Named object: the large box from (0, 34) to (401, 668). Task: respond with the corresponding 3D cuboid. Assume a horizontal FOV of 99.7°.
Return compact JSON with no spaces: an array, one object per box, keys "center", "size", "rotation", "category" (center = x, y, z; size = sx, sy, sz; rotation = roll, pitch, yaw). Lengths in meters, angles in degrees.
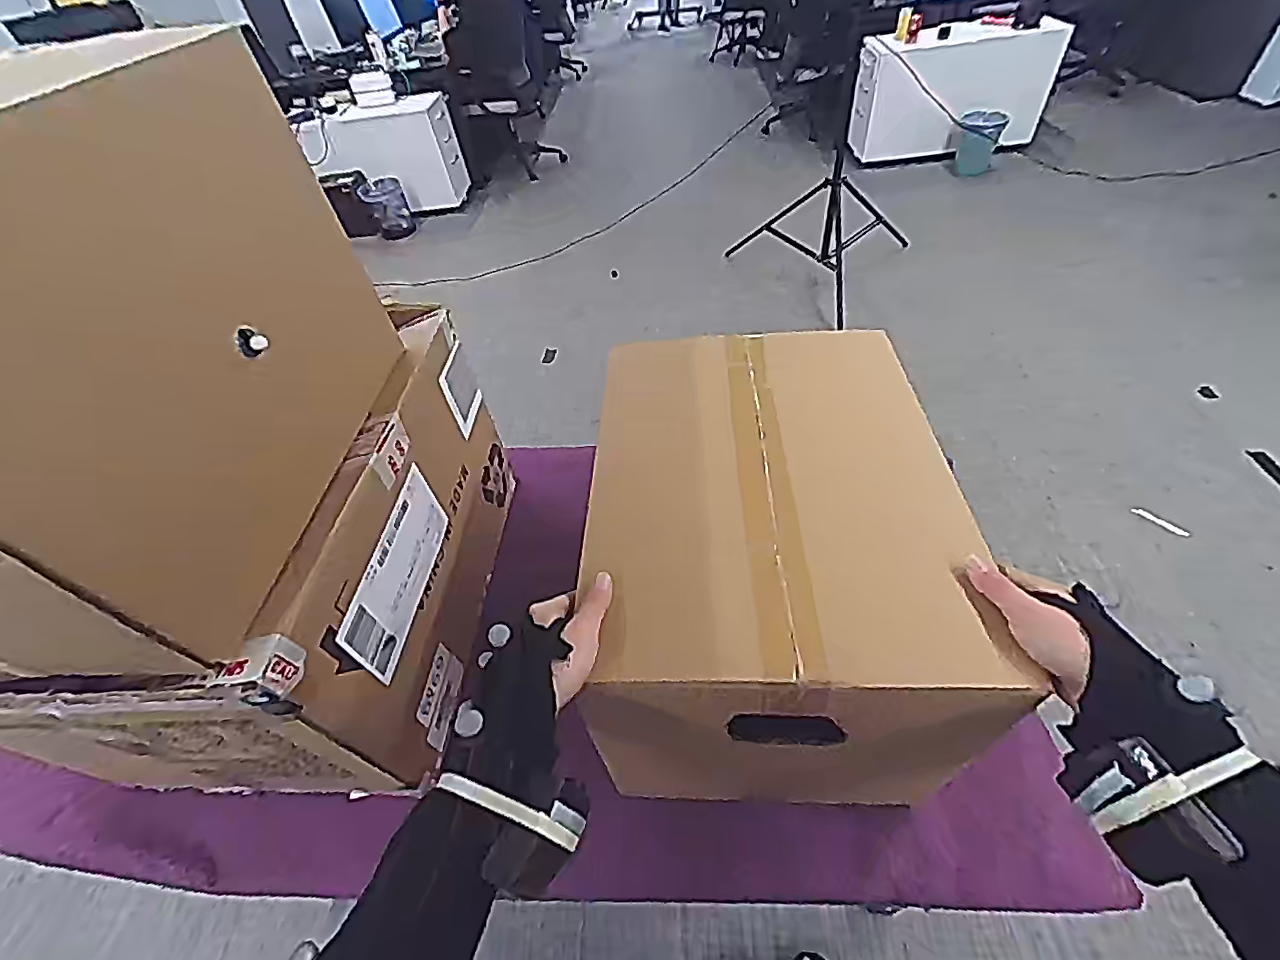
[{"center":[-0.452,-0.105,0.433],"size":[0.320,0.320,0.408],"rotation":[-5,48,6],"category":"large box"}]
